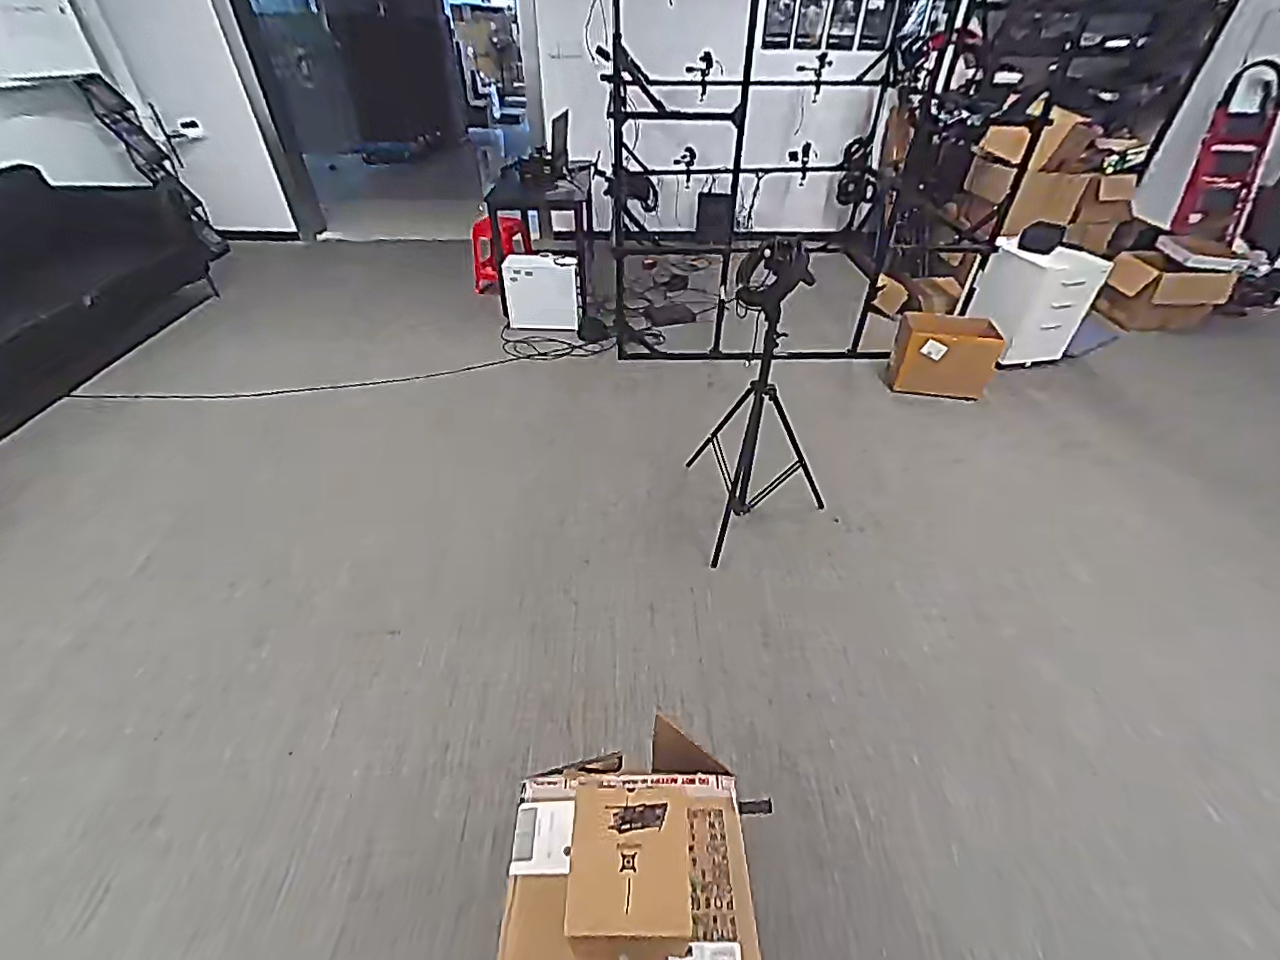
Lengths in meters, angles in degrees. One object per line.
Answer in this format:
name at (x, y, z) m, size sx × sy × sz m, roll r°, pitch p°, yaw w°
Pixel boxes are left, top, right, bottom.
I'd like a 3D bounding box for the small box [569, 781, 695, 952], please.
small box at (-0.011, 0.573, 0.804) m, size 0.168 × 0.176 × 0.179 m, roll 1°, pitch 43°, yaw 0°
